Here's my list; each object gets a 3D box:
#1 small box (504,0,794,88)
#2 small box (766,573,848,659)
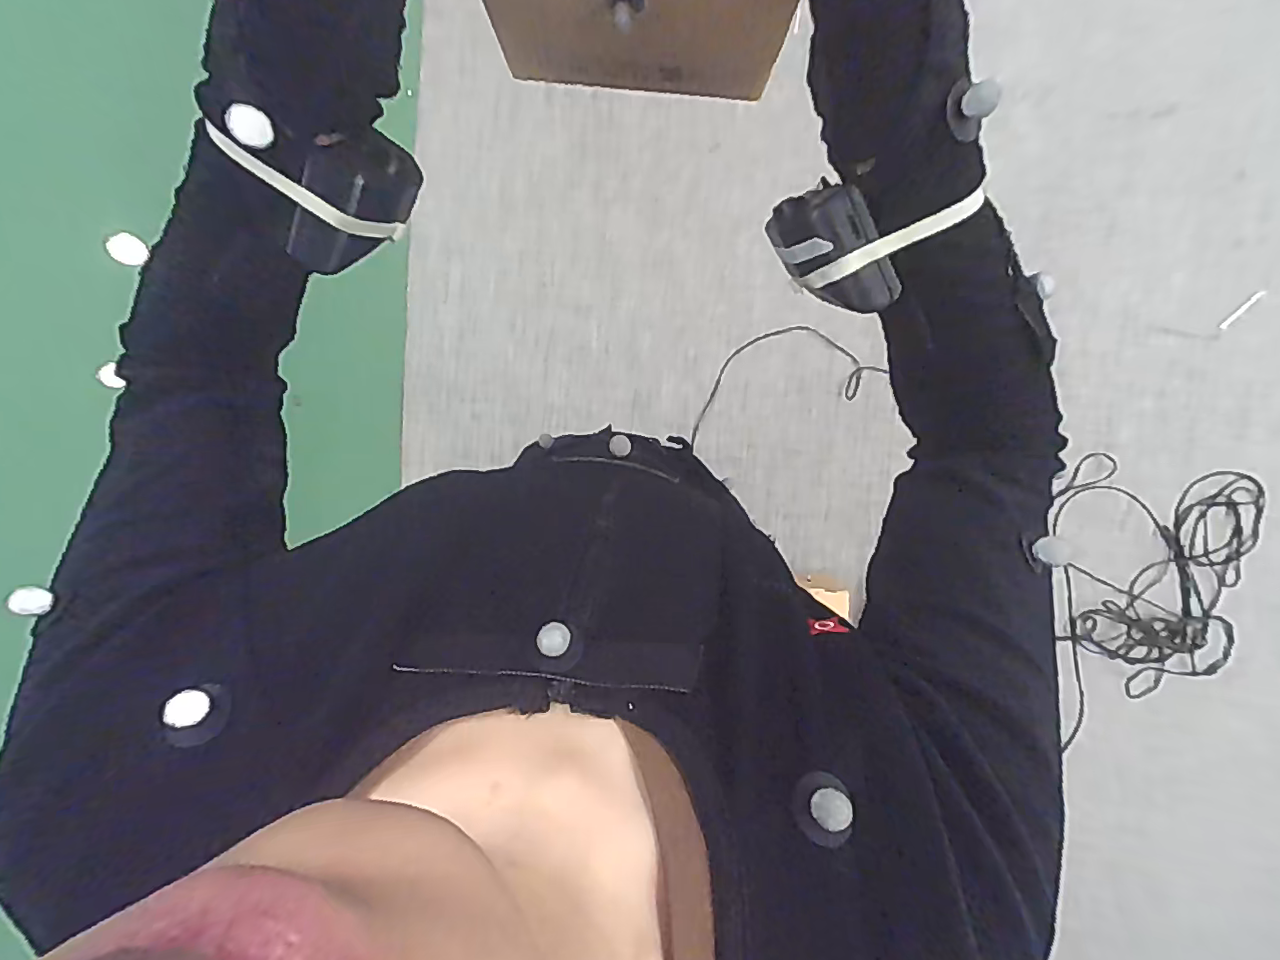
[{"bbox_3d":[0.009,-0.335,0.267,0.168,0.176,0.179,5,96,-1],"label":"small box"},{"bbox_3d":[0.428,0.348,1.405,0.168,0.176,0.179,1,92,1],"label":"small box"}]
